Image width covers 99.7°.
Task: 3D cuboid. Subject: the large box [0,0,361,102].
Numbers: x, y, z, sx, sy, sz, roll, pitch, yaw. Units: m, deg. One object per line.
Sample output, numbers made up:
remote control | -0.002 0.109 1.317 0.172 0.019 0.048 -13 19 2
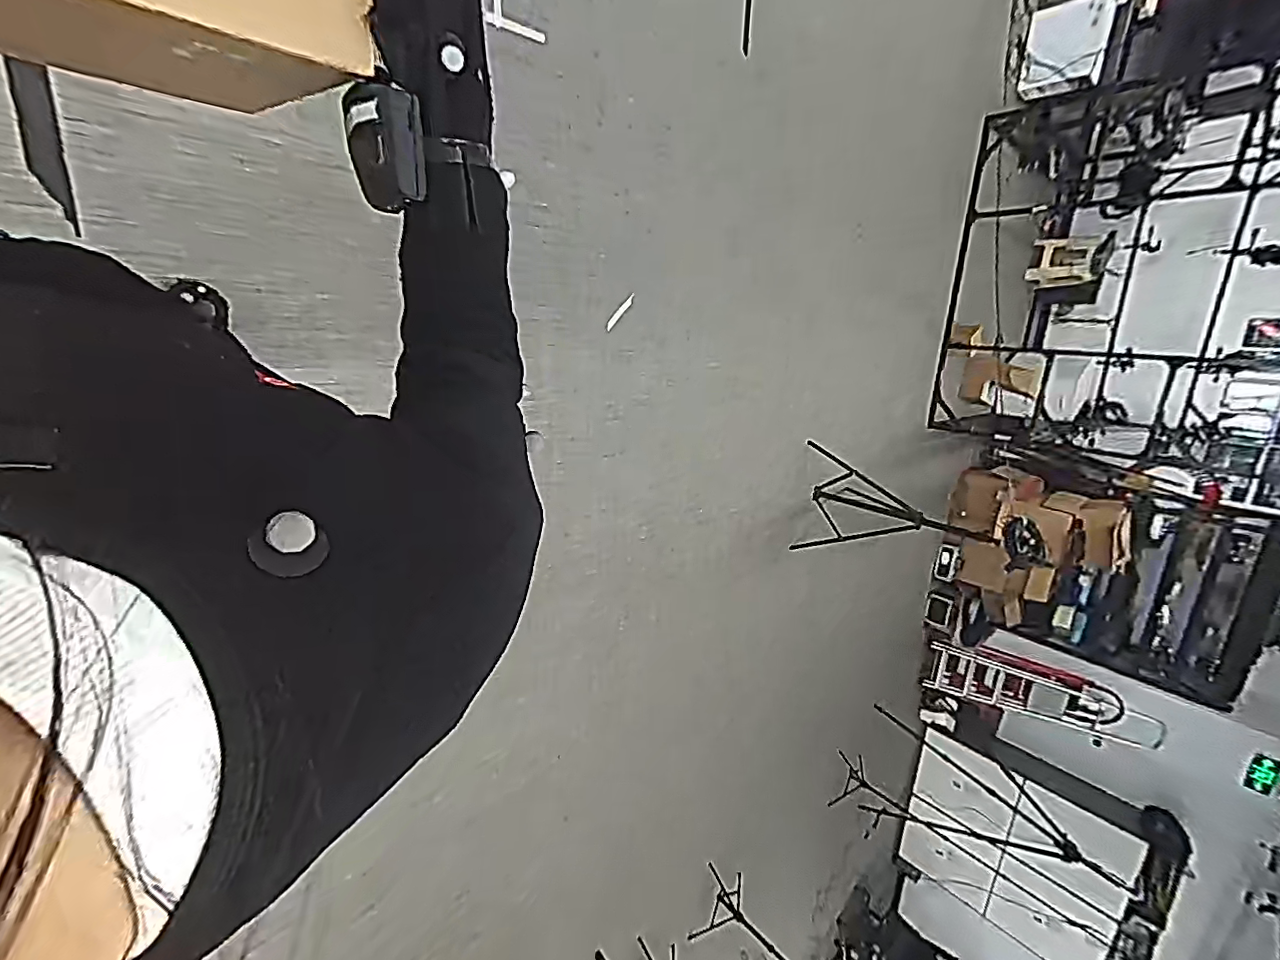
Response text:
large box | -0.397 -0.405 0.231 0.408 0.320 0.320 -15 122 -43
